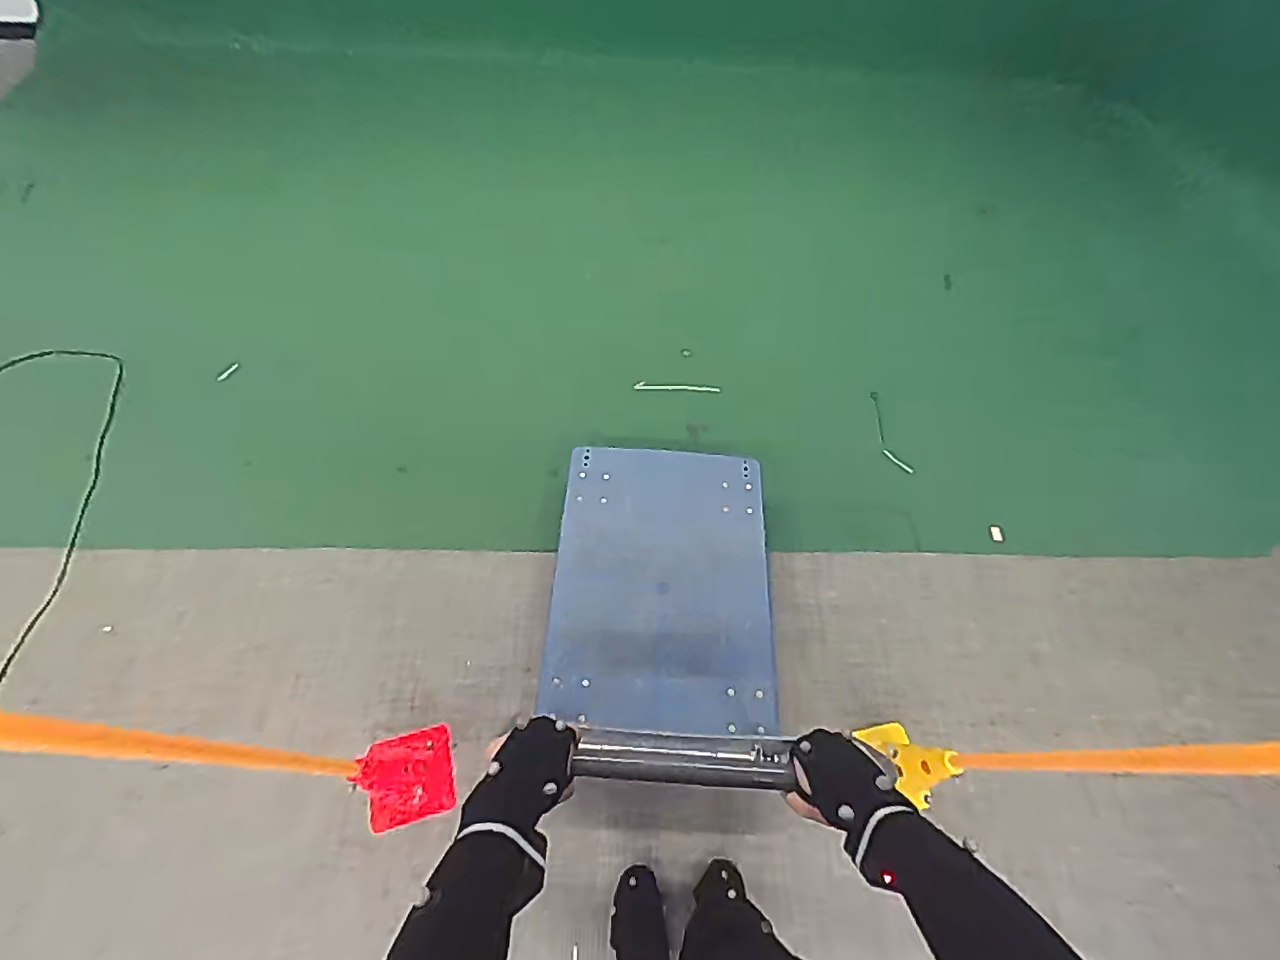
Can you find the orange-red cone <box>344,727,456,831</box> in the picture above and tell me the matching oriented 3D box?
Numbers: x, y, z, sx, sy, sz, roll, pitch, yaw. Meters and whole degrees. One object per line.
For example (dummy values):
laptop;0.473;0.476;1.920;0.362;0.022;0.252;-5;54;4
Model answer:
orange-red cone;-0.554;0.645;1.184;0.199;0.360;0.198;-13;61;-9
